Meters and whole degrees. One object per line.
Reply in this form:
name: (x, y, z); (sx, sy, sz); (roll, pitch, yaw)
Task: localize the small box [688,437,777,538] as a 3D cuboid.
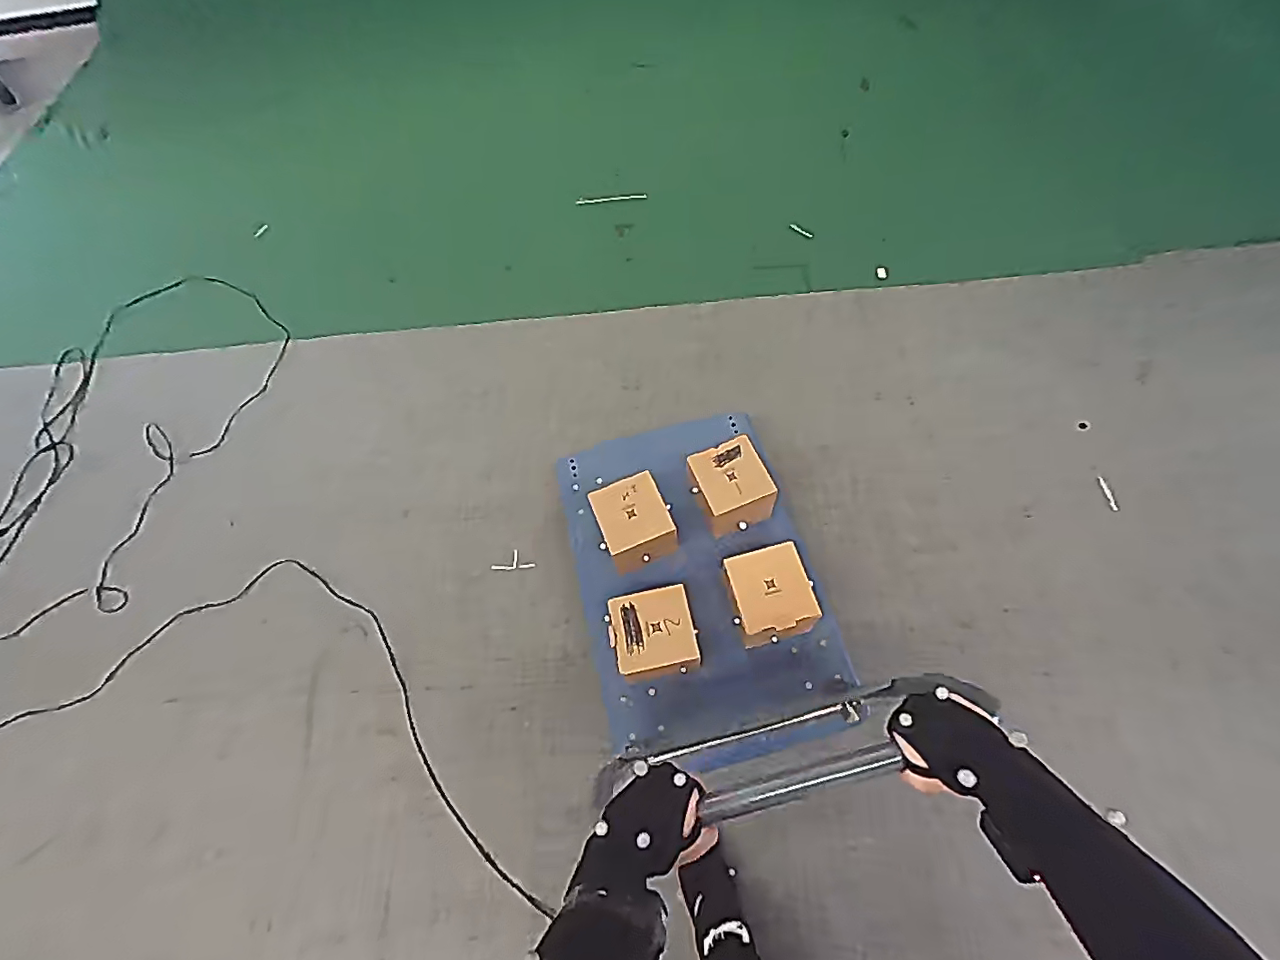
small box: (0.229, 0.024, 1.388); (0.168, 0.176, 0.179); (-21, 64, -4)

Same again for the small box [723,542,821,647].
small box: (0.296, 0.270, 1.258); (0.168, 0.176, 0.179); (-15, 63, -1)

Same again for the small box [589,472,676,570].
small box: (-0.014, 0.113, 1.368); (0.168, 0.176, 0.179); (-21, 63, -6)
